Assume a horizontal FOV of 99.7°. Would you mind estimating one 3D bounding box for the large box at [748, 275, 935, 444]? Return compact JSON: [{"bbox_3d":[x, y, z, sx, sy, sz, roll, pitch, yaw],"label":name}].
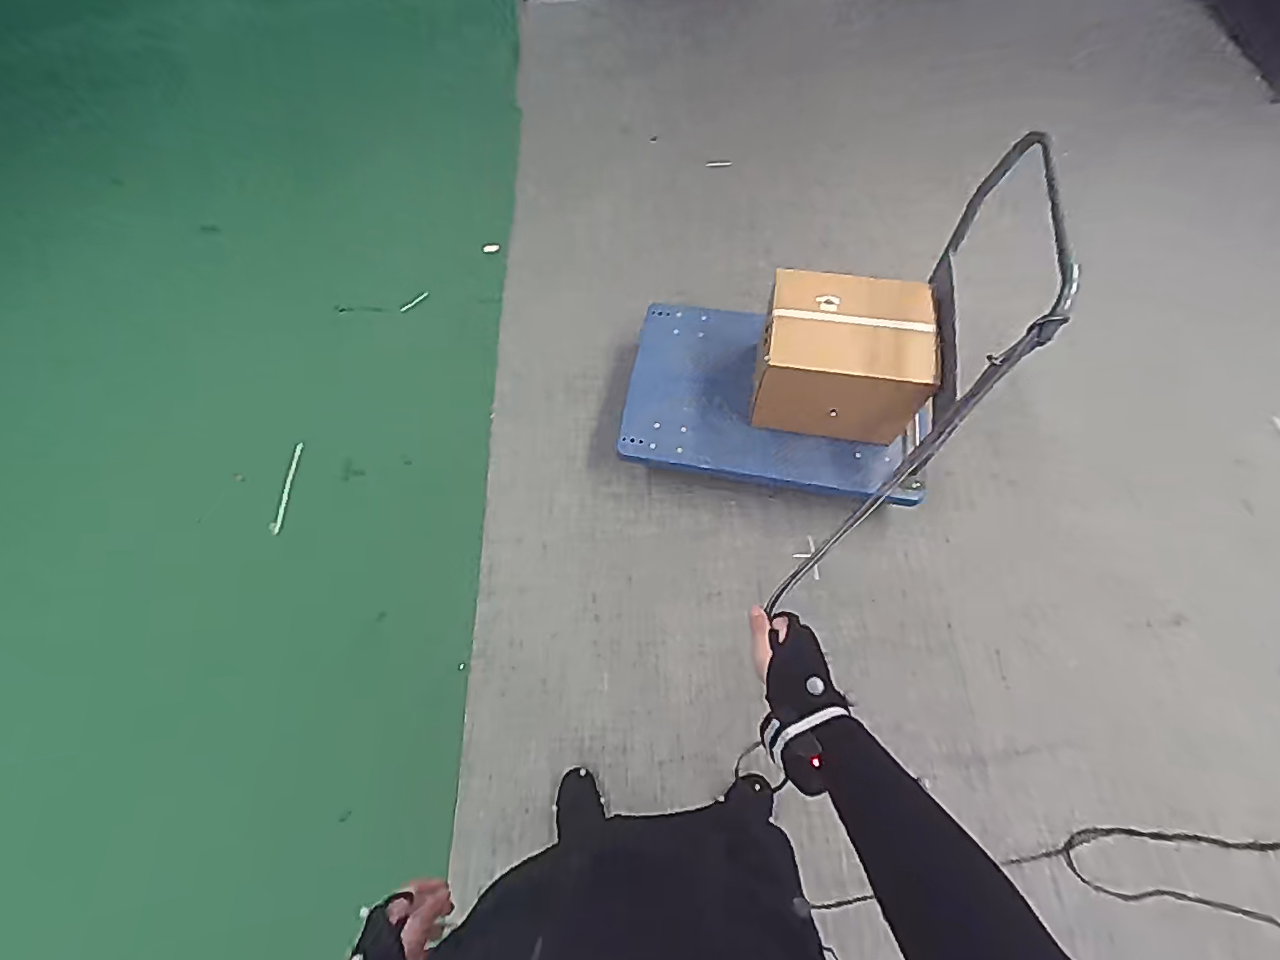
[{"bbox_3d":[0.526,-0.317,1.473,0.408,0.320,0.320,8,66,7],"label":"large box"}]
